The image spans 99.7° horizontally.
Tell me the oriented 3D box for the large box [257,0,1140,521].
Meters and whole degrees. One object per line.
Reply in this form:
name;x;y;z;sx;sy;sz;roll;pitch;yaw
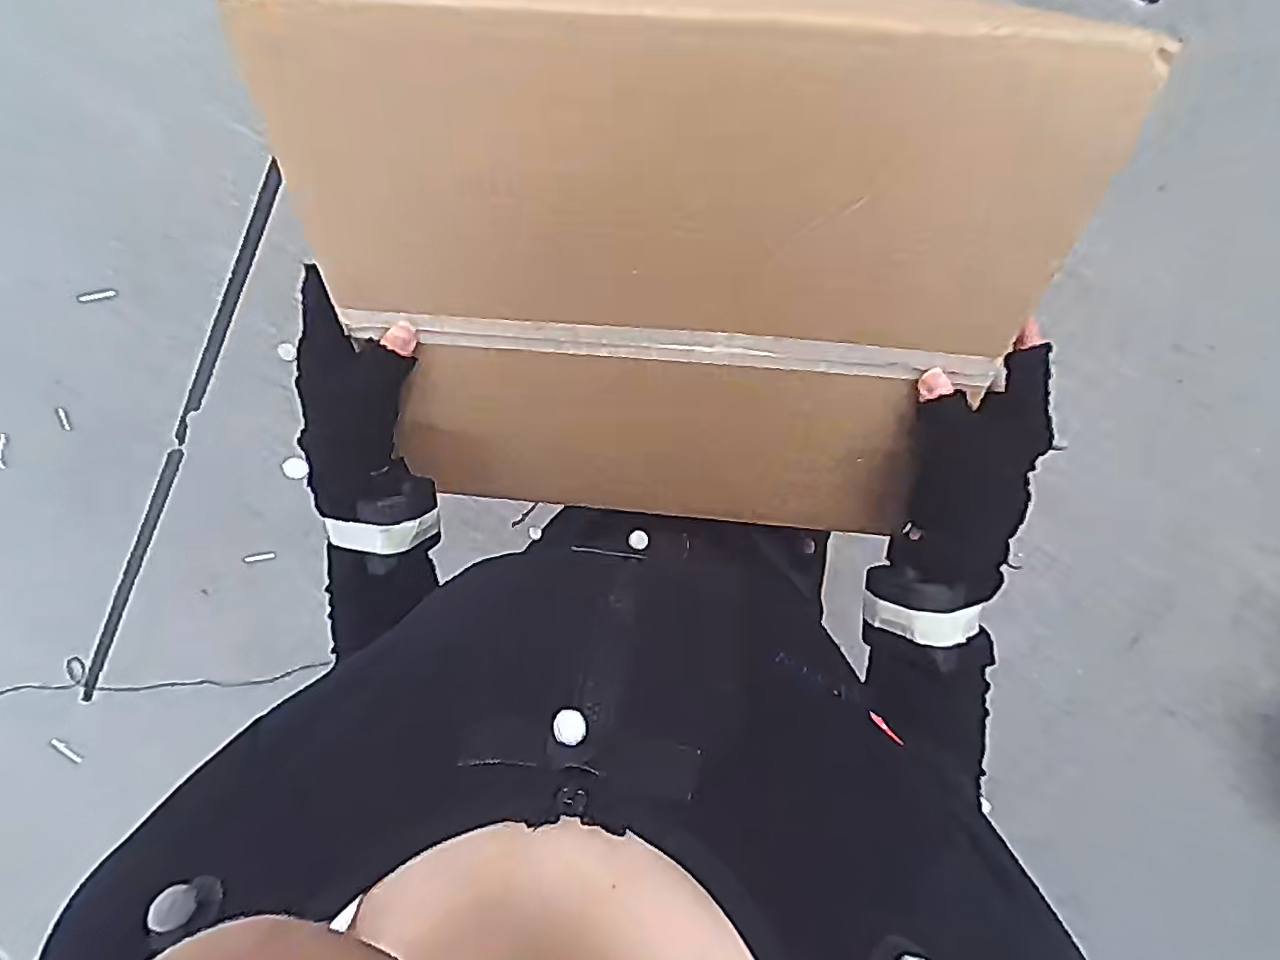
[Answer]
large box;0.025;-0.194;0.449;0.408;0.320;0.320;5;136;2
